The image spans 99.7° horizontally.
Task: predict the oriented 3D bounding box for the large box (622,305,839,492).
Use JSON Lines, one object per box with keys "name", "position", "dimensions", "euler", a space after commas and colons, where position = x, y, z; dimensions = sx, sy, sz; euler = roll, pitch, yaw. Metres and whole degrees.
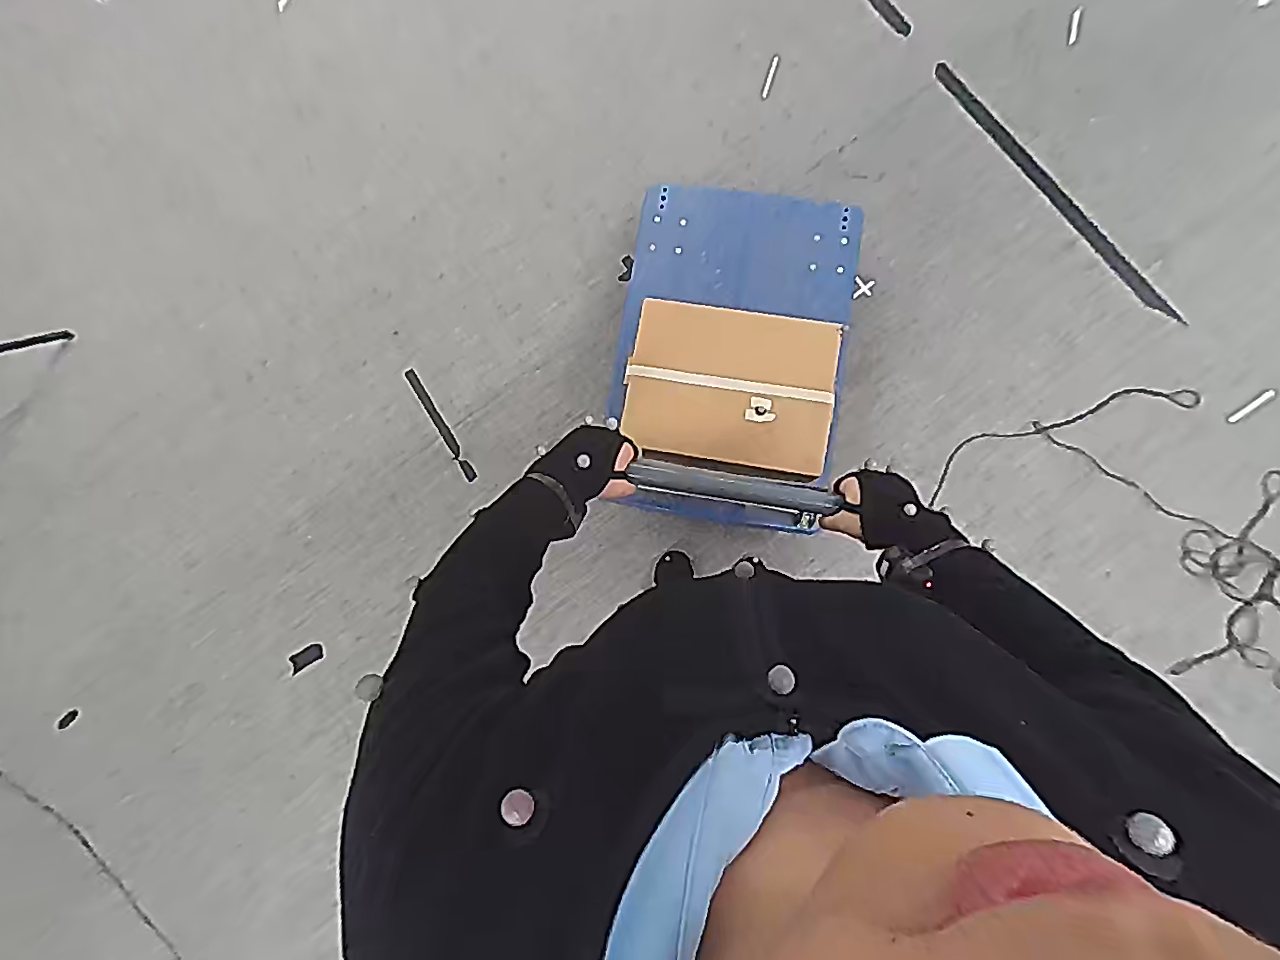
{"name": "large box", "position": [0.187, -0.165, 1.226], "dimensions": [0.408, 0.320, 0.320], "euler": [9, 85, 4]}
